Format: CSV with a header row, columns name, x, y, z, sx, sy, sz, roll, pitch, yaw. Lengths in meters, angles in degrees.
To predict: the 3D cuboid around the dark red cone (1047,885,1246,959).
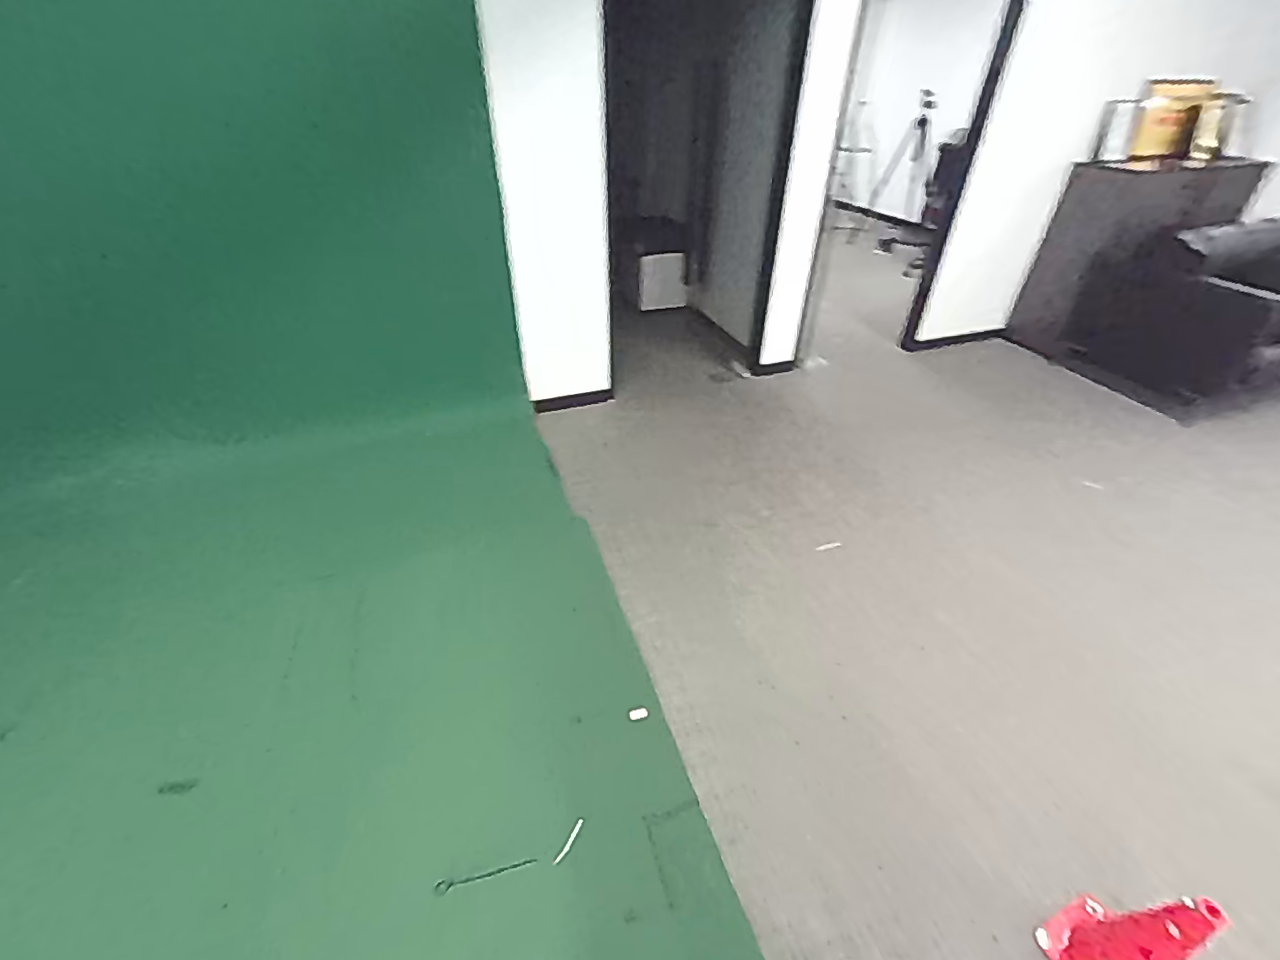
name,x,y,z,sx,sy,sz,roll,pitch,yaw
dark red cone,0.993,0.863,1.026,0.201,0.394,0.202,-17,40,-19
